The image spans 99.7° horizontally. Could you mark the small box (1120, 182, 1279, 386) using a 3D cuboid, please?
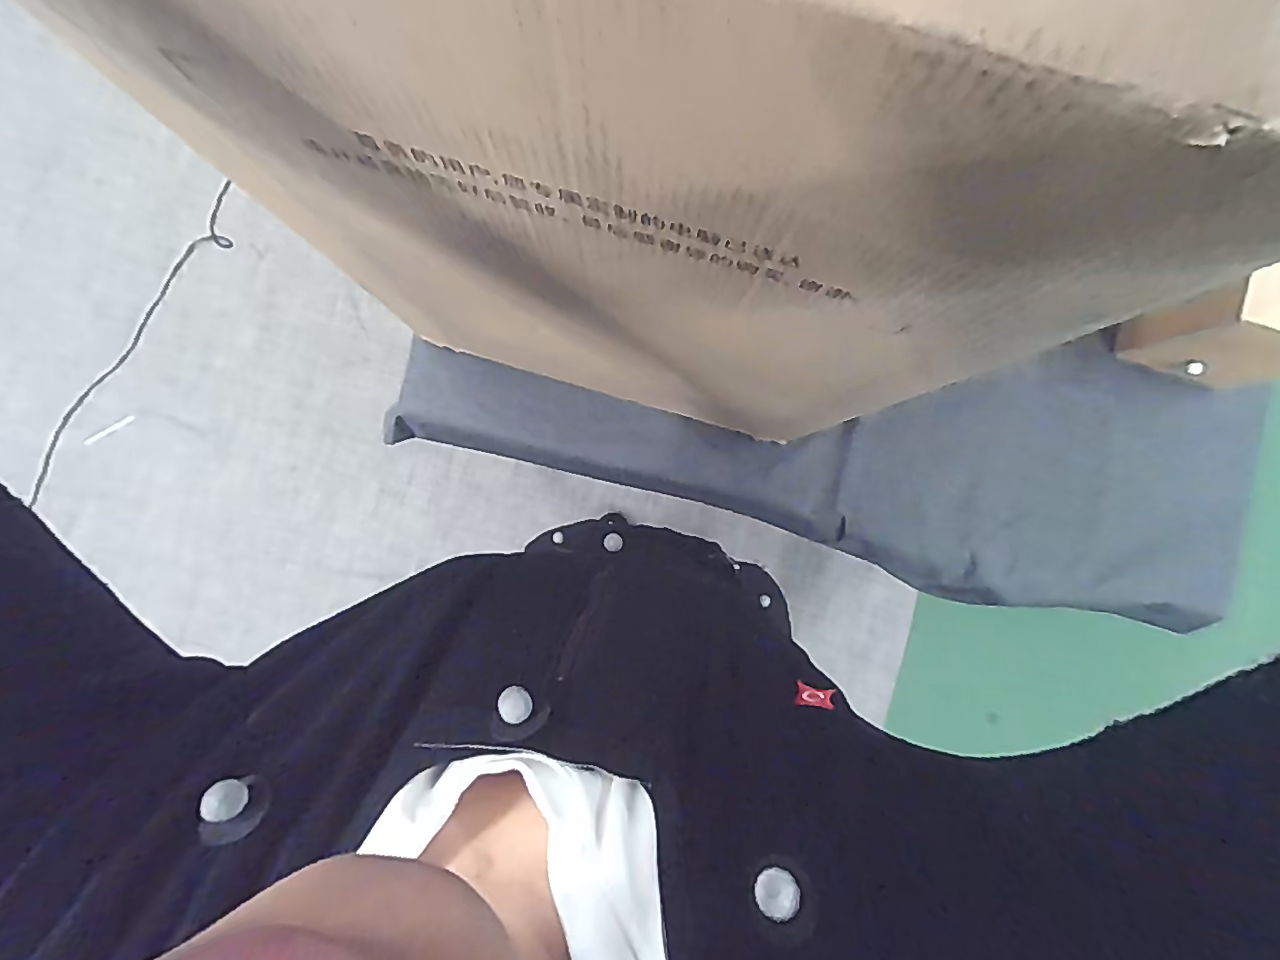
[{"bbox_3d":[0.794,-0.242,0.712,0.168,0.176,0.179,17,88,-1],"label":"small box"}]
